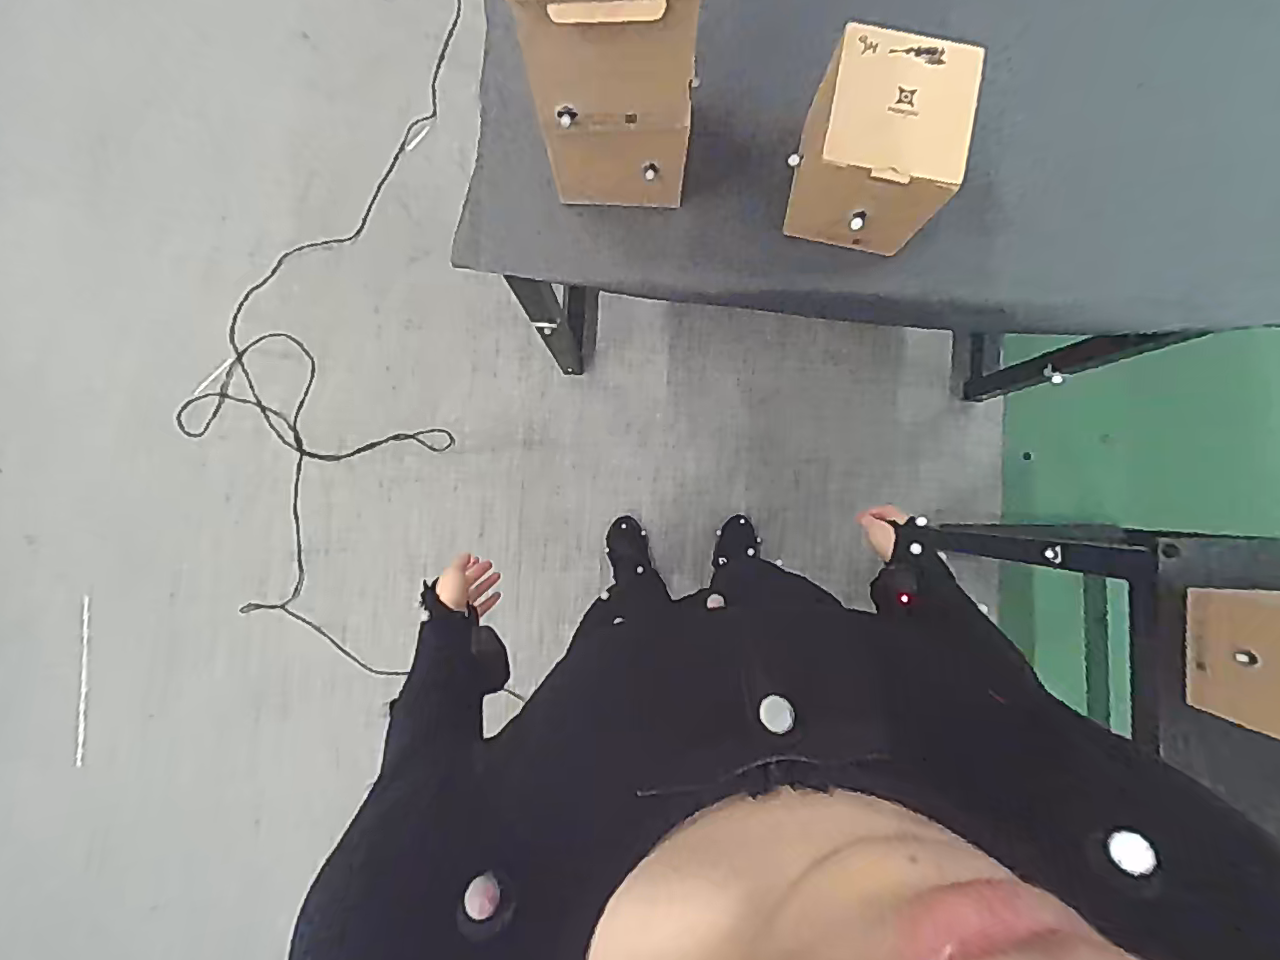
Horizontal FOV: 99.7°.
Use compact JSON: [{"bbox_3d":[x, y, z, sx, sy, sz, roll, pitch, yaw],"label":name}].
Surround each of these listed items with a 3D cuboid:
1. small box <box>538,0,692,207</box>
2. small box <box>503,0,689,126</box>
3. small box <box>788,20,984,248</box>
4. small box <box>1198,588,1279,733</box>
[{"bbox_3d":[-0.027,-0.481,0.707,0.179,0.176,0.168,1,86,1],"label":"small box"},{"bbox_3d":[-0.038,-0.489,0.543,0.168,0.176,0.179,-3,85,0],"label":"small box"},{"bbox_3d":[0.301,-0.429,0.700,0.168,0.176,0.179,12,87,2],"label":"small box"},{"bbox_3d":[0.856,0.231,0.670,0.179,0.176,0.168,2,89,1],"label":"small box"}]
